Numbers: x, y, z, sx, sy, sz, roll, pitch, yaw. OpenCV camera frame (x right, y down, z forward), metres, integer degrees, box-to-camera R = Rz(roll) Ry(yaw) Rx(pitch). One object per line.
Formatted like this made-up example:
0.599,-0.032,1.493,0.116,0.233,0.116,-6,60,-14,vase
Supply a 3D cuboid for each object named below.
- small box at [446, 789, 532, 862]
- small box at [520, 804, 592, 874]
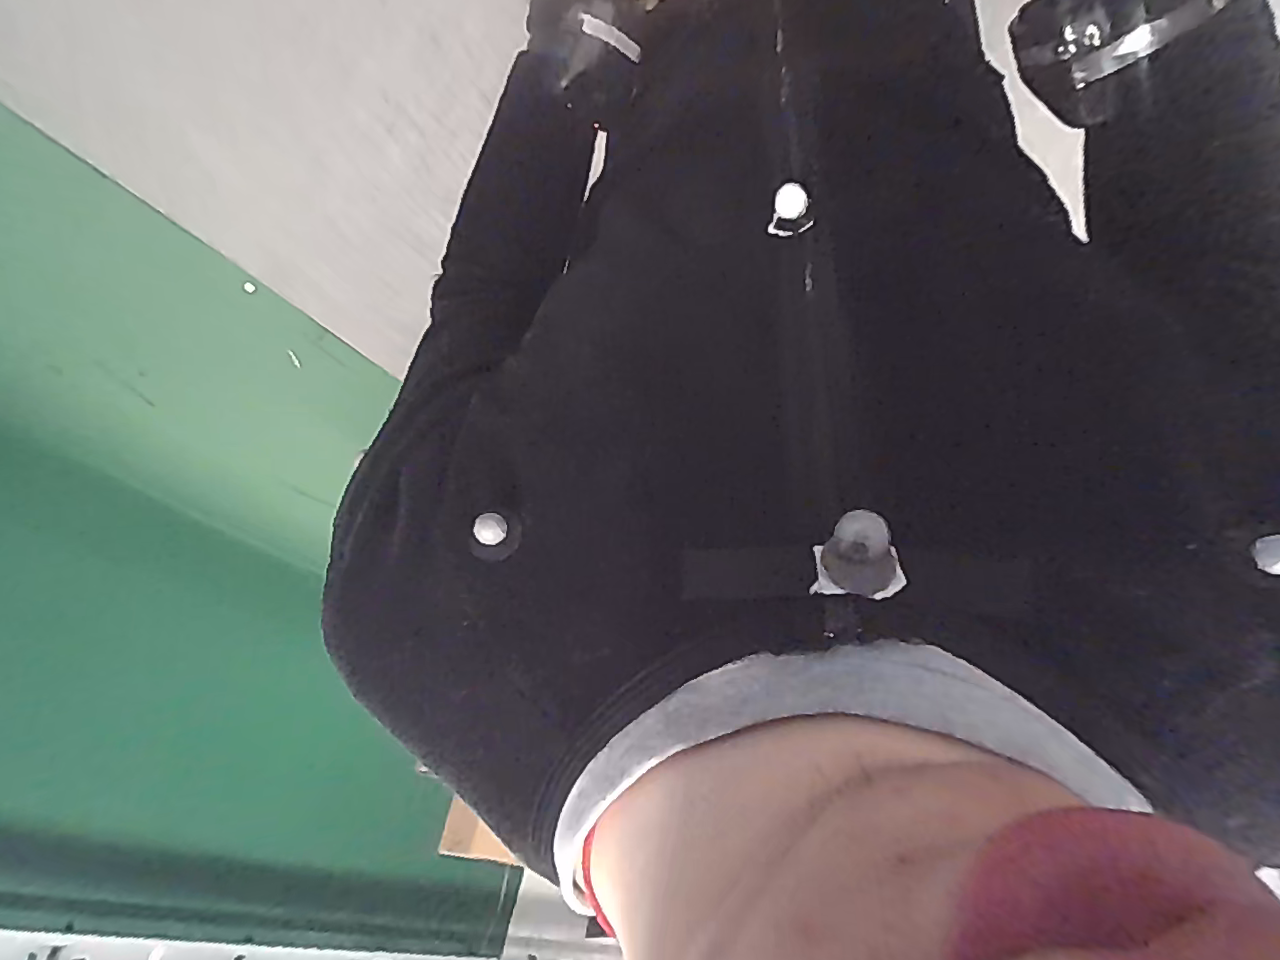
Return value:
-0.471,1.086,1.704,0.168,0.176,0.179,-21,134,36,small box
-0.287,1.214,1.832,0.168,0.176,0.179,-22,133,36,small box
